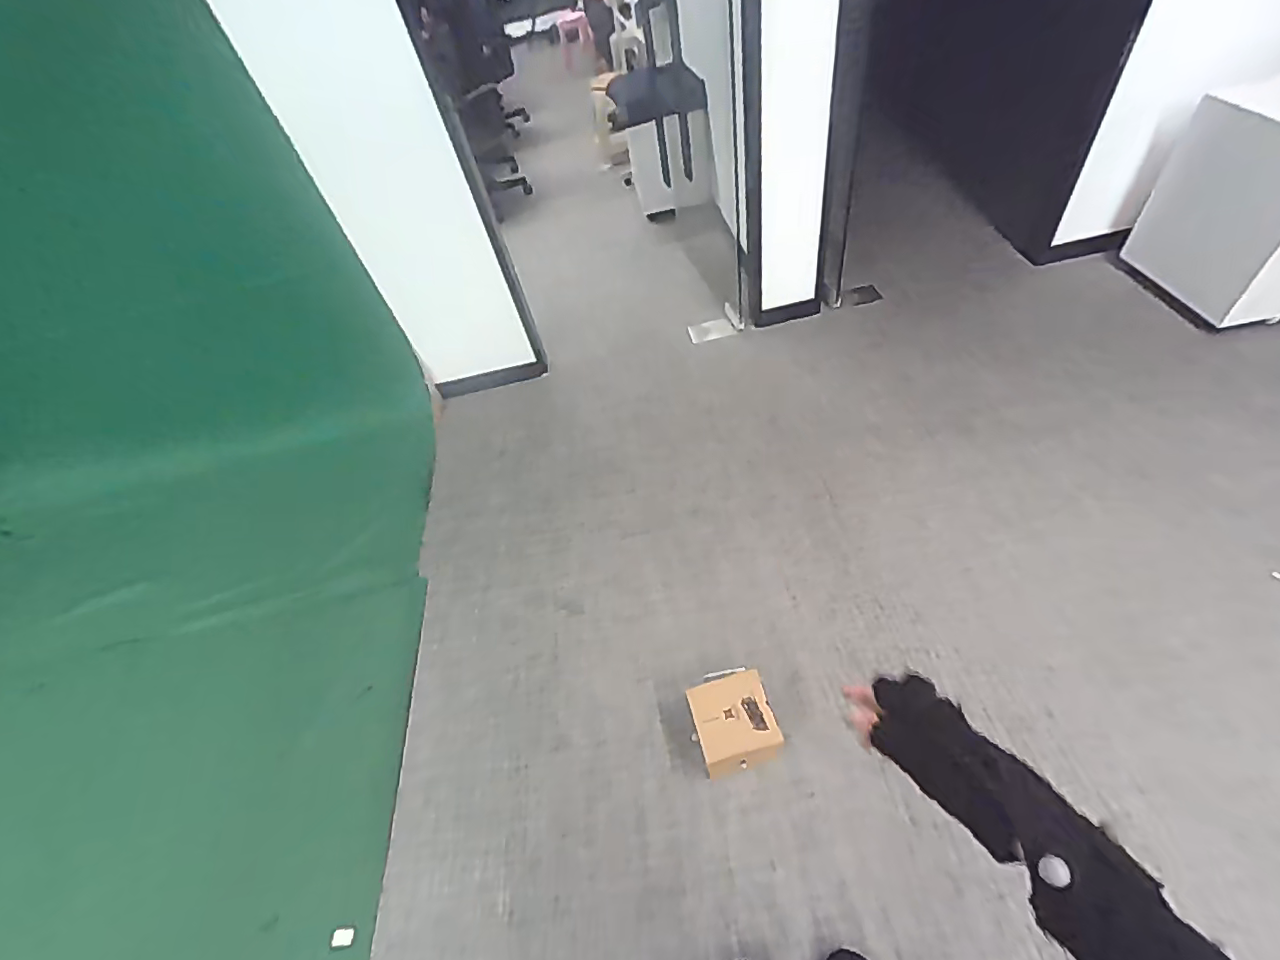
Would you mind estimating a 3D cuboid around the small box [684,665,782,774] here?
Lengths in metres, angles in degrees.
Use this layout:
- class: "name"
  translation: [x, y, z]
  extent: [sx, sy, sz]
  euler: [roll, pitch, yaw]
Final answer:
- class: "small box"
  translation: [0.215, 0.566, 1.274]
  extent: [0.179, 0.176, 0.168]
  euler: [-18, 49, -4]
